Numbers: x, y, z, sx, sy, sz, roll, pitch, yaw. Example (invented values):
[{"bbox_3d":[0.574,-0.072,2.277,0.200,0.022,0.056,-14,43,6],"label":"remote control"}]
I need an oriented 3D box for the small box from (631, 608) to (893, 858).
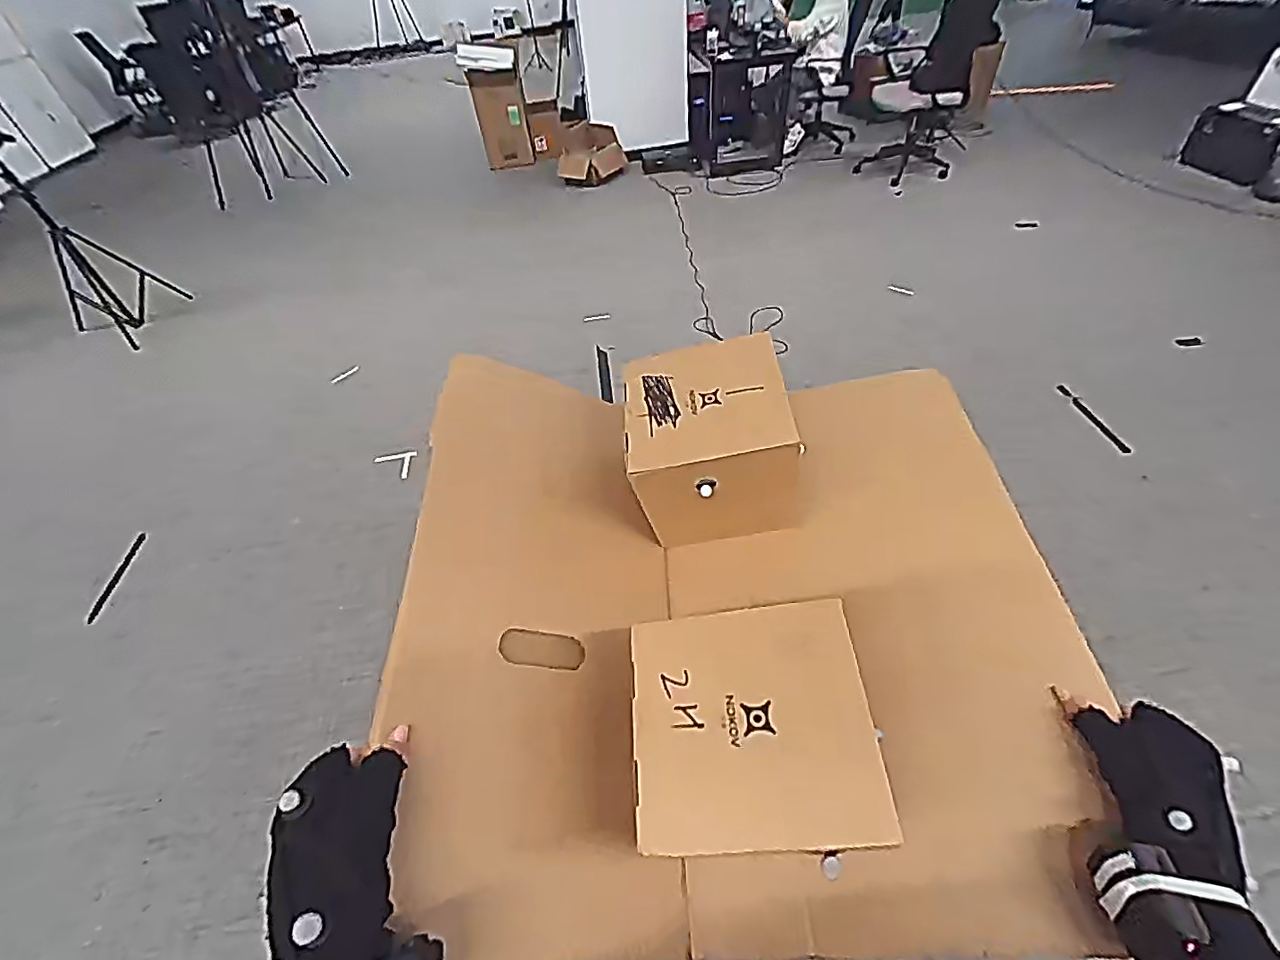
[{"bbox_3d":[0.098,0.227,0.472,0.179,0.176,0.168,-10,54,11],"label":"small box"}]

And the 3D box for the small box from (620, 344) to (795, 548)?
[{"bbox_3d":[0.083,-0.032,0.657,0.179,0.176,0.168,-11,54,10],"label":"small box"}]
